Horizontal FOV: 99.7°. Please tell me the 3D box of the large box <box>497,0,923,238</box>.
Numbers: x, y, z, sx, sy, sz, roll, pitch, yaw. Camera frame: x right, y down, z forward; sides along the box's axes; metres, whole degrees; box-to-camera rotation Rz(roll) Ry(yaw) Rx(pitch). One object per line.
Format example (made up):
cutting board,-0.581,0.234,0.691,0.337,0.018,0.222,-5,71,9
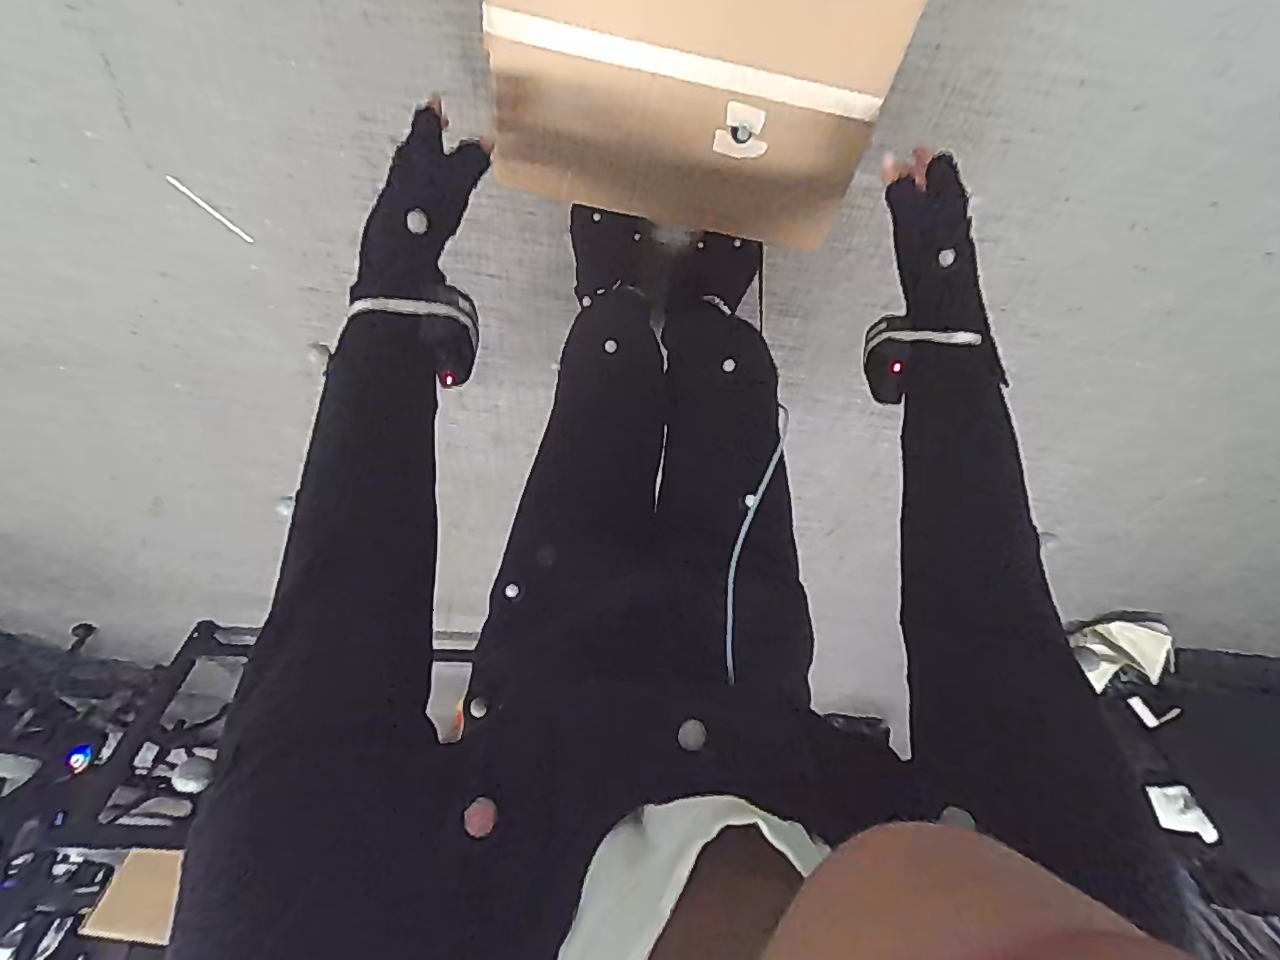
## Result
large box,0.060,-0.534,0.639,0.408,0.320,0.320,8,138,-6
